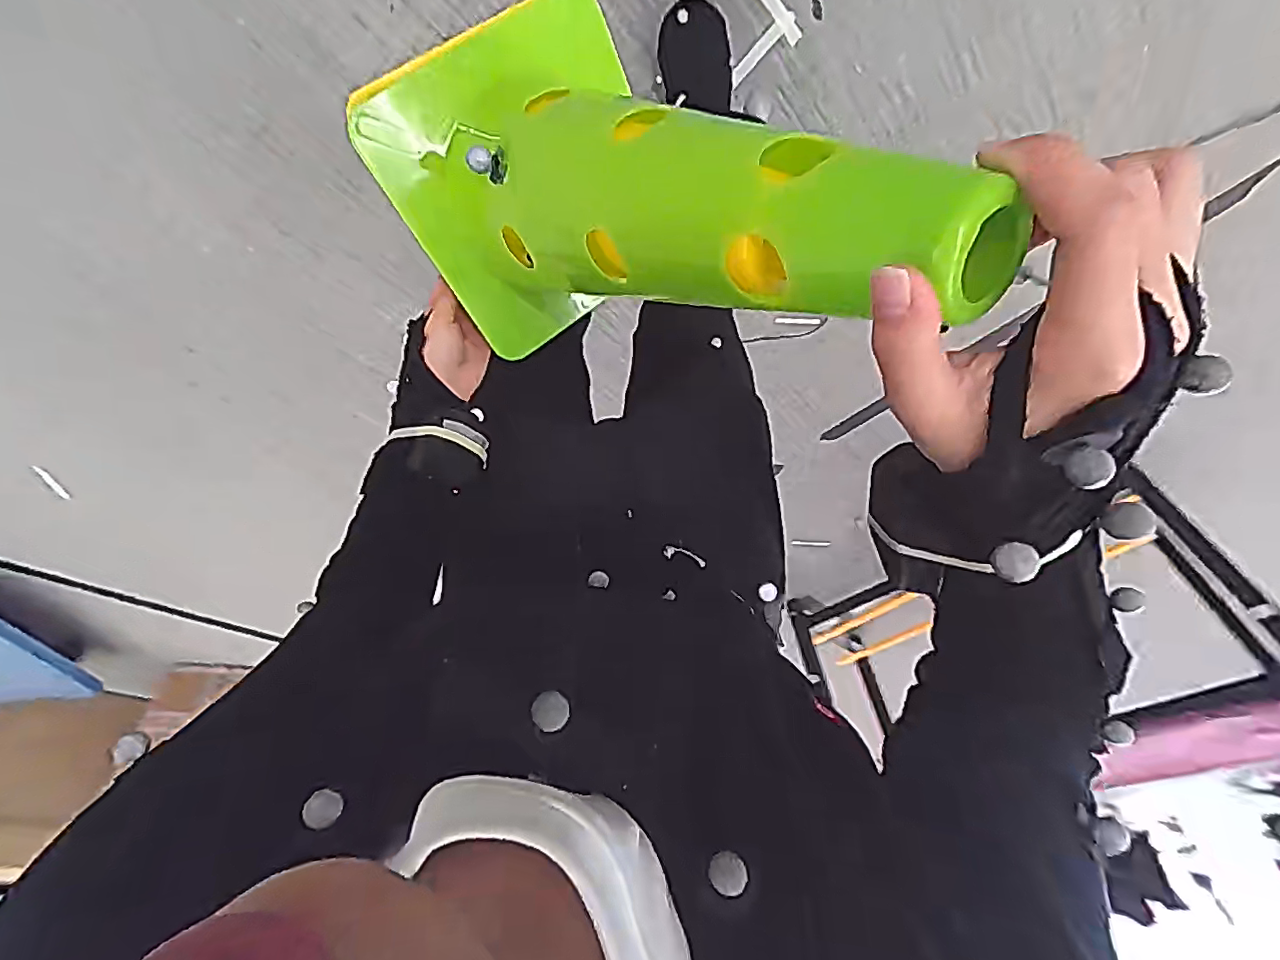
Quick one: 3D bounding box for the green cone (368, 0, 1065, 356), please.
[{"bbox_3d":[0.020,-0.140,0.280,0.202,0.368,0.200,-37,131,-8],"label":"green cone"}]
